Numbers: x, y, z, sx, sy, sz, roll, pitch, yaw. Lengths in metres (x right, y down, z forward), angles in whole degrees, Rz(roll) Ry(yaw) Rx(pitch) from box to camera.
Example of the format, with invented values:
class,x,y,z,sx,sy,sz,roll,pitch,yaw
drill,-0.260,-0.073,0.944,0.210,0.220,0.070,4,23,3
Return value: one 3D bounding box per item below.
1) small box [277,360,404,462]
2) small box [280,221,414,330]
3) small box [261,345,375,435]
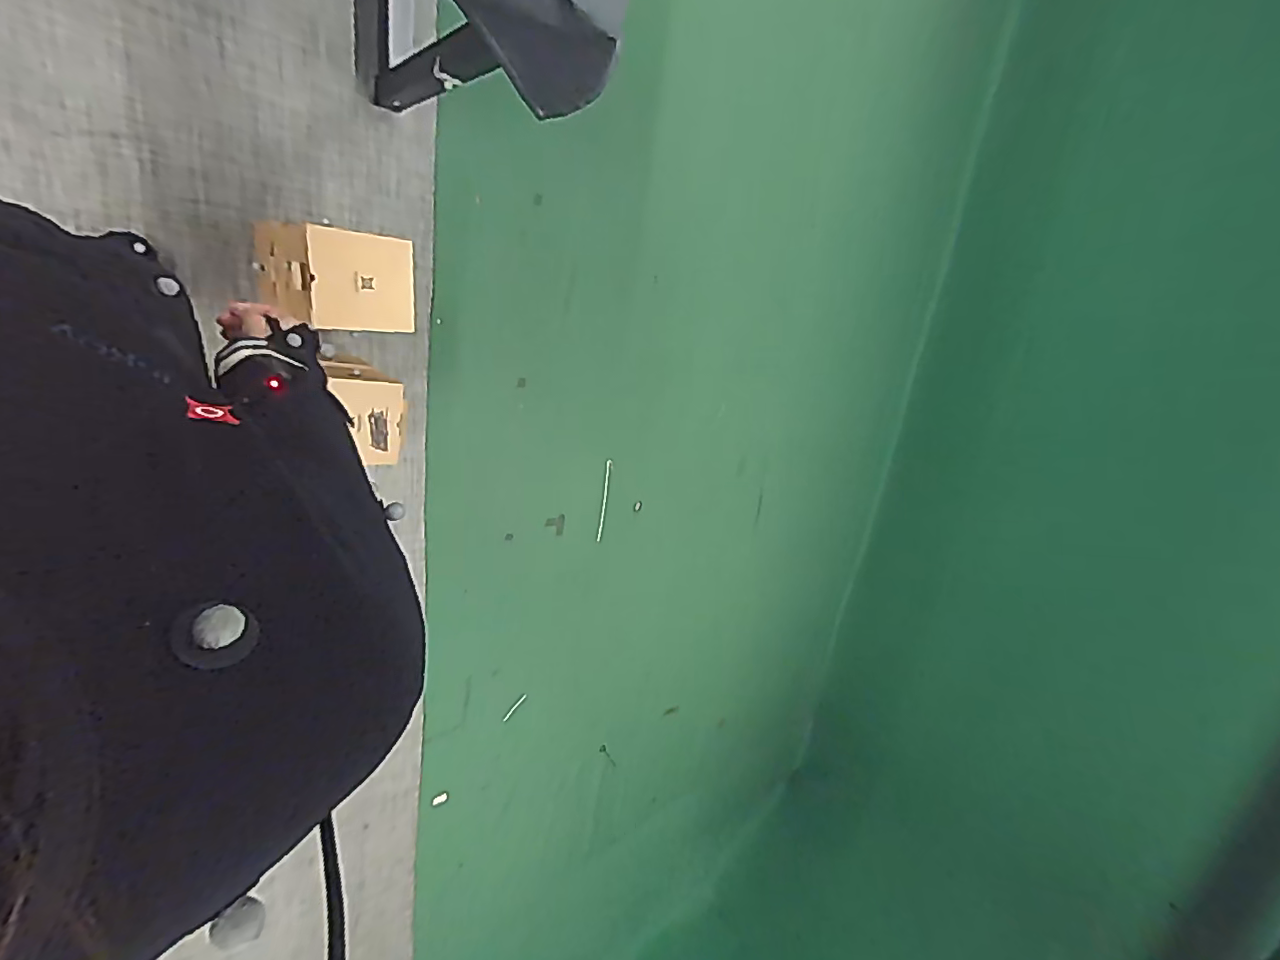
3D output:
class,x,y,z,sx,sy,sz,roll,pitch,yaw
small box,-0.587,-0.136,1.057,0.179,0.176,0.168,-2,108,-44
small box,-0.538,-0.375,0.998,0.179,0.176,0.168,-11,115,-42
small box,-0.696,-0.192,1.167,0.179,0.176,0.168,-2,108,-43
